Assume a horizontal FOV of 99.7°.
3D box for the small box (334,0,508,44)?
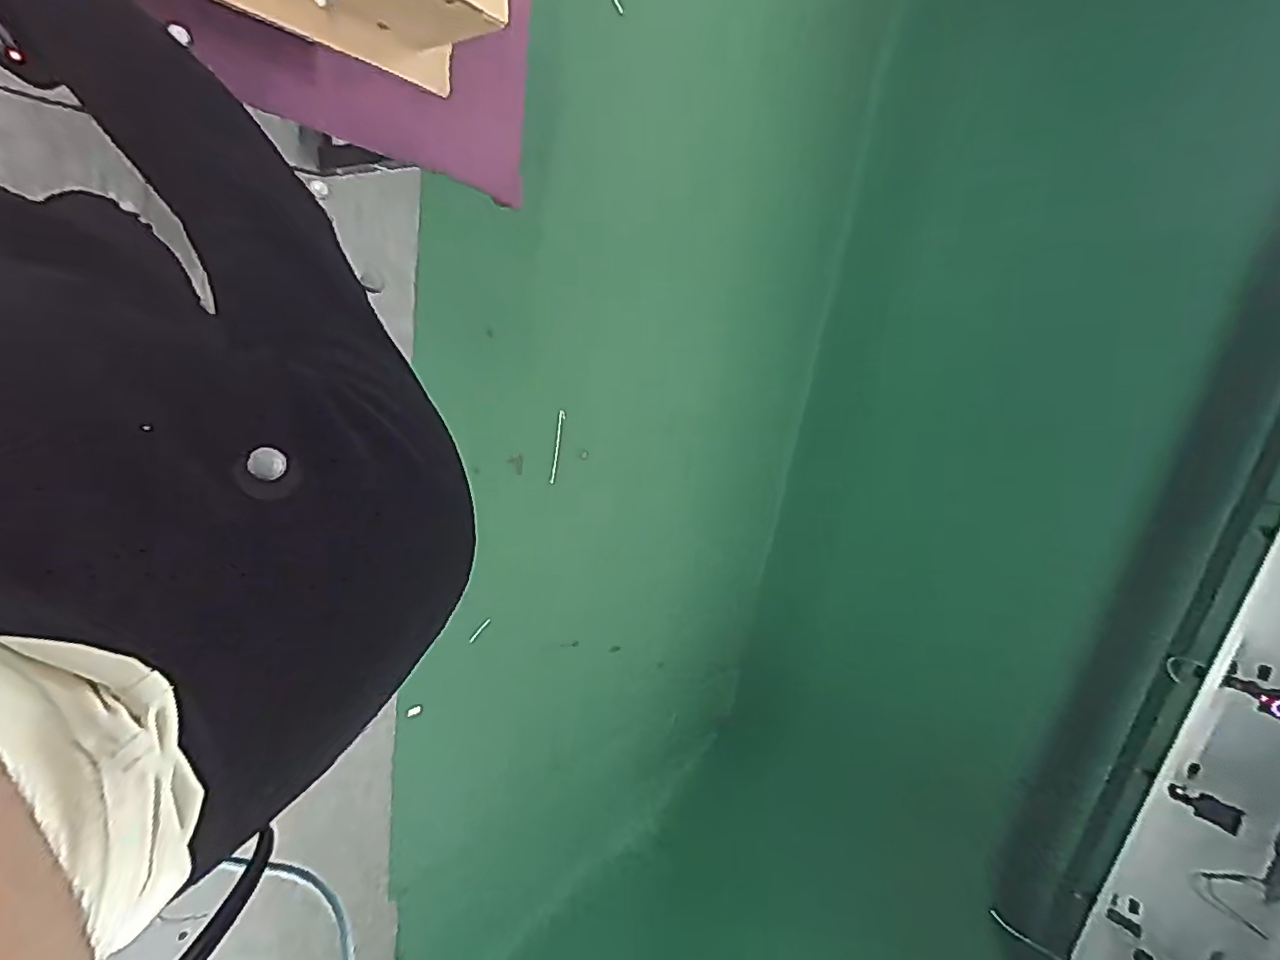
[{"bbox_3d":[-0.246,-0.579,0.540,0.168,0.176,0.179,-16,118,-52],"label":"small box"}]
